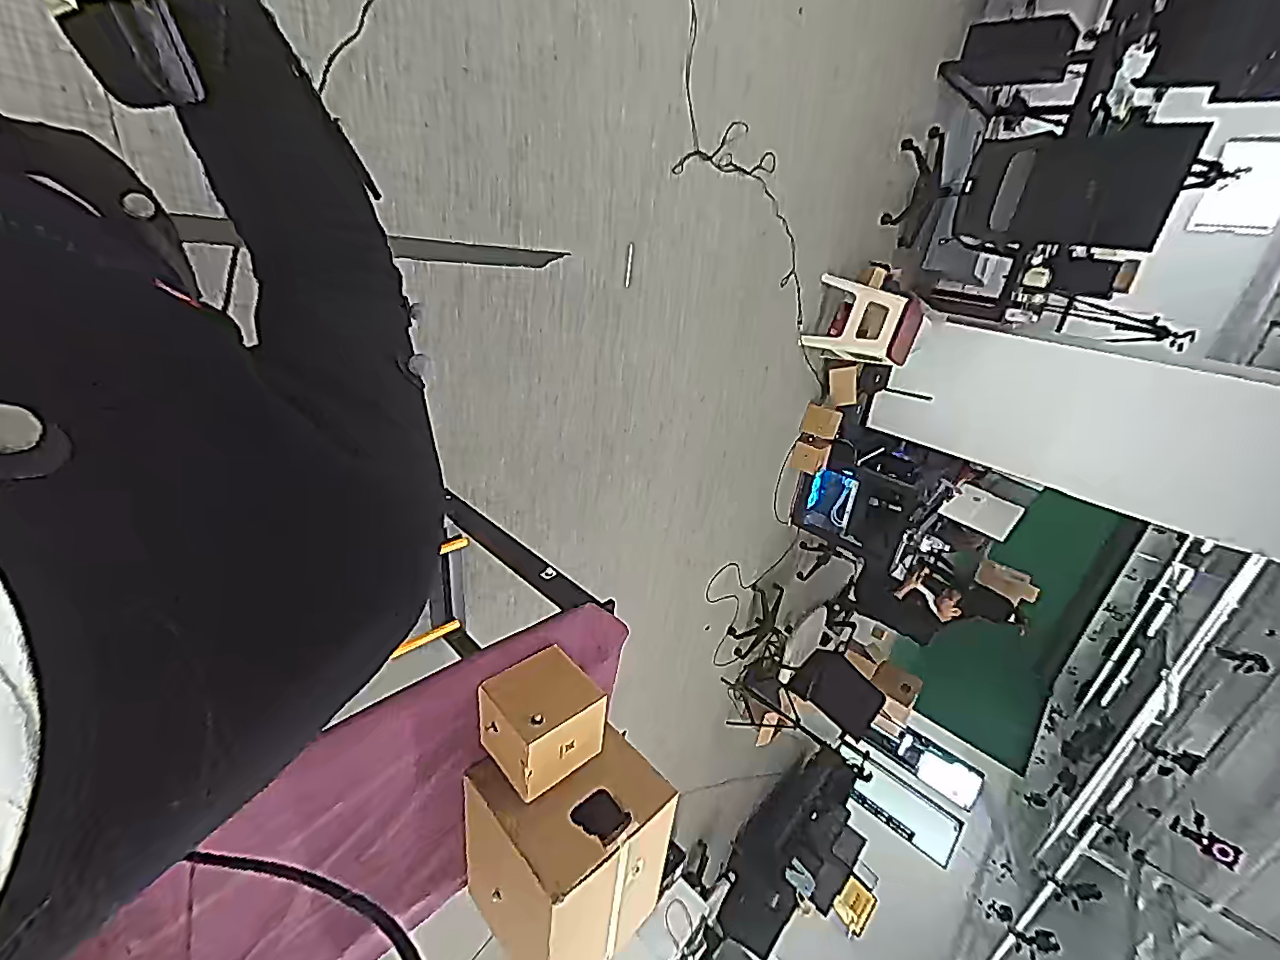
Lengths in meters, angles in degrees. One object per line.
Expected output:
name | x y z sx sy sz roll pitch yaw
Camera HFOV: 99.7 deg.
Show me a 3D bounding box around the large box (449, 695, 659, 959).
large box | -0.190 0.766 1.164 0.320 0.320 0.408 -18 124 -43
